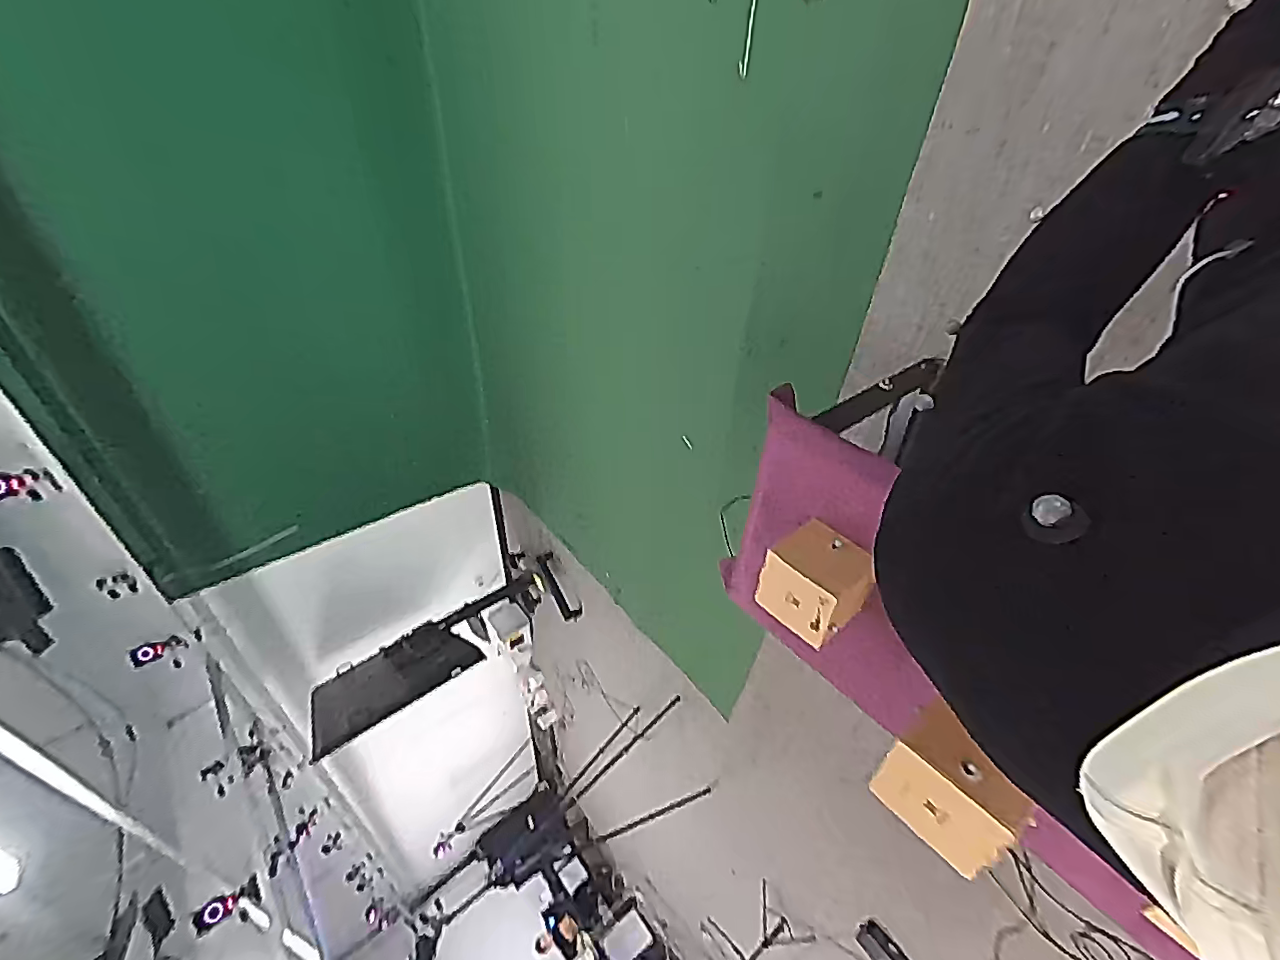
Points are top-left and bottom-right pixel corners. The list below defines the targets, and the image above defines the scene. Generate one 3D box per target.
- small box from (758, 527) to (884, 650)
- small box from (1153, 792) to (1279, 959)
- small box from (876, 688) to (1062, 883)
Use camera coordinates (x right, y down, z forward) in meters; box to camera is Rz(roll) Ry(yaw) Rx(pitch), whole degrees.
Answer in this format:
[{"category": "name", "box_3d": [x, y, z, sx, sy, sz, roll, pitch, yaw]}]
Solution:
[{"category": "small box", "box_3d": [0.389, 0.224, 1.174, 0.179, 0.176, 0.168, 37, 140, 36]}, {"category": "small box", "box_3d": [0.863, 0.575, 0.732, 0.168, 0.176, 0.179, 35, 138, 38]}, {"category": "small box", "box_3d": [0.517, 0.472, 0.855, 0.179, 0.176, 0.168, 37, 138, 37]}]
